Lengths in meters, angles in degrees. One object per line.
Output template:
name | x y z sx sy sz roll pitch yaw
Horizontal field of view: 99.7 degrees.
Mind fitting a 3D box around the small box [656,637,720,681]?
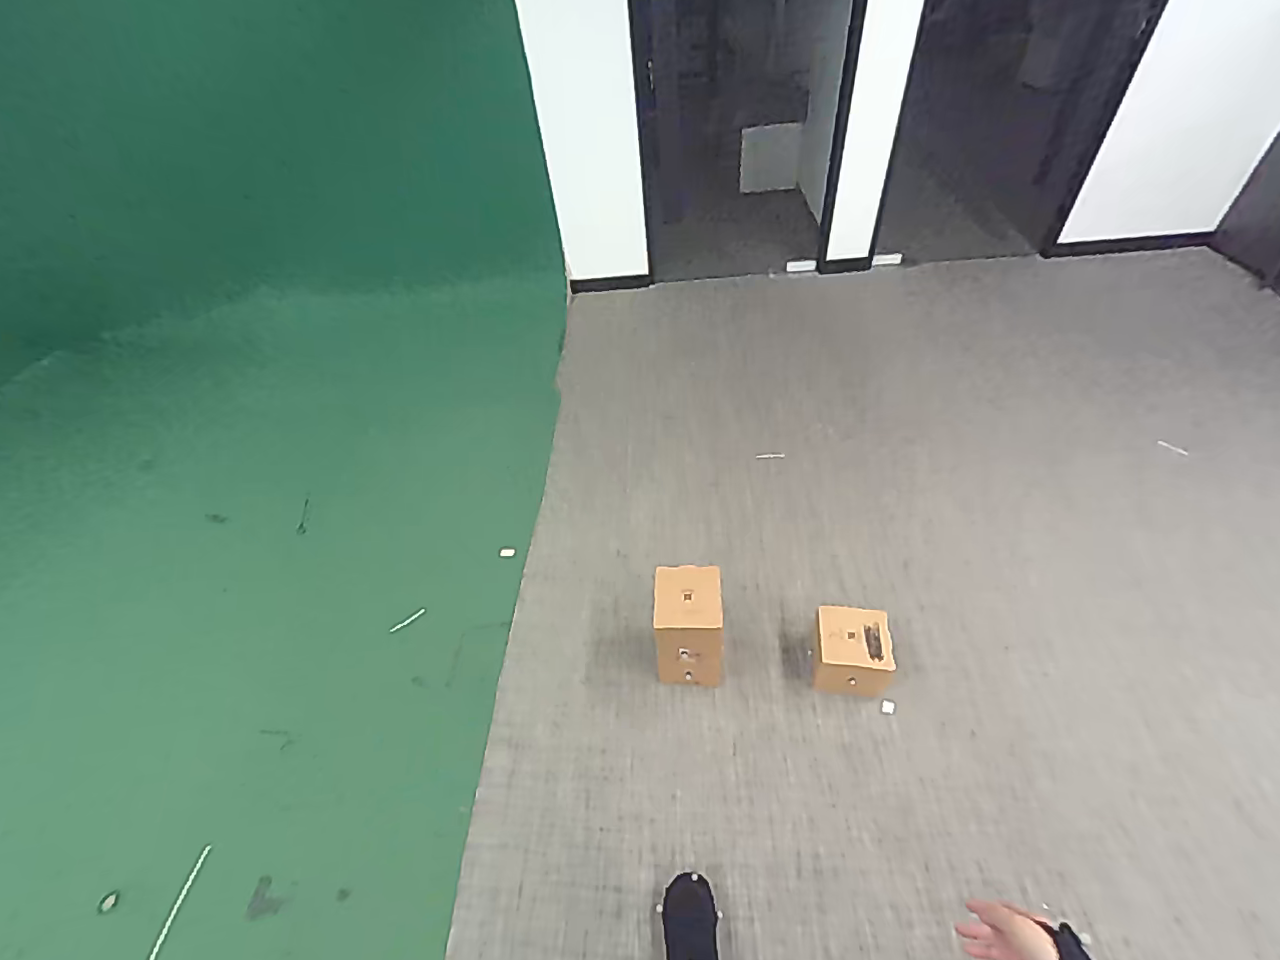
small box | 0.139 0.443 1.505 0.168 0.176 0.179 1 48 8

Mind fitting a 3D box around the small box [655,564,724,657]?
small box | 0.128 0.334 1.385 0.168 0.176 0.179 -2 48 7
